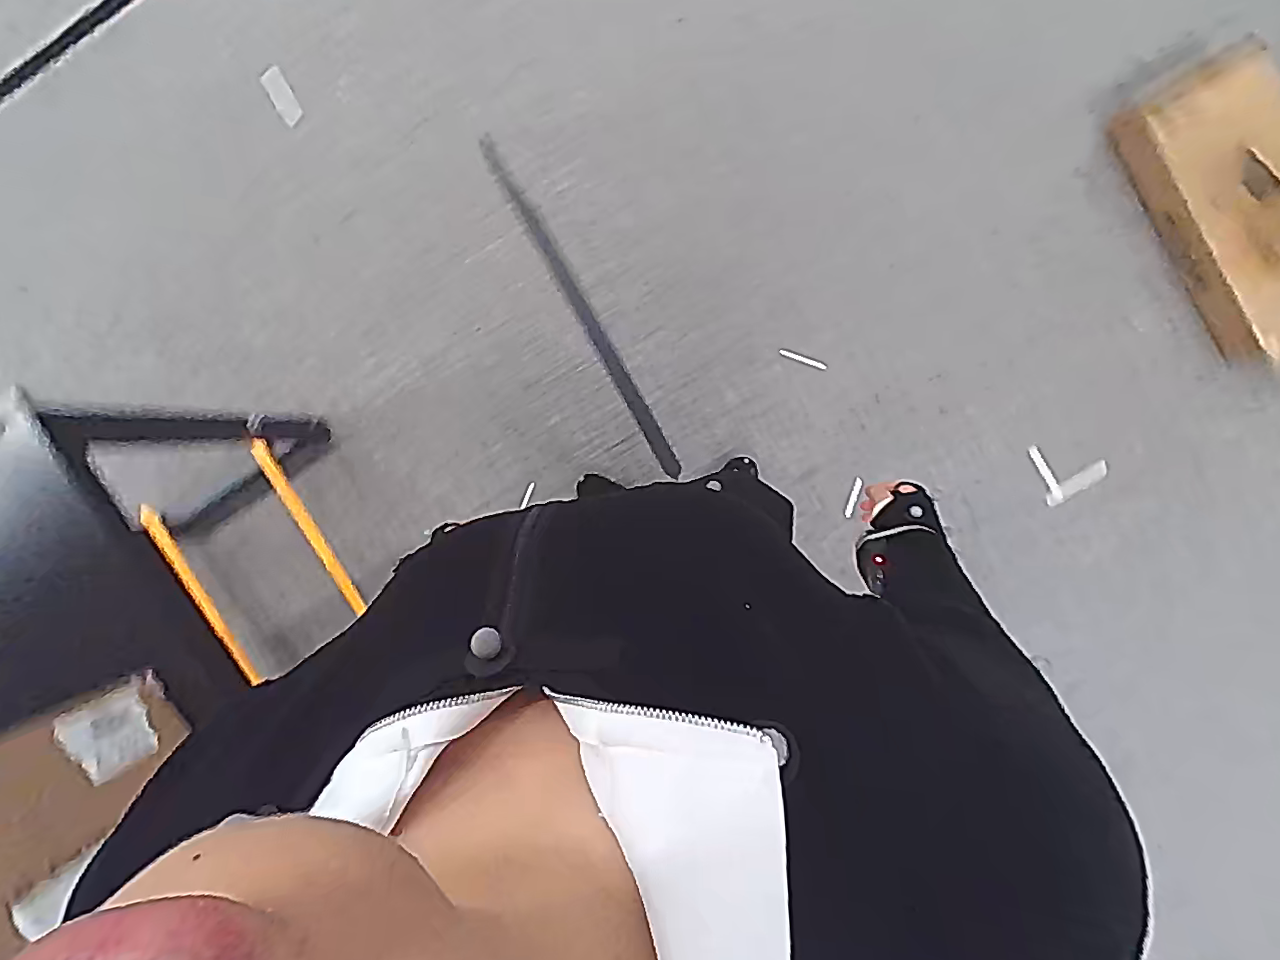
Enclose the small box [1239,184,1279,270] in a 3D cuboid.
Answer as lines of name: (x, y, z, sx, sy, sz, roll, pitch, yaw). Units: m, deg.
small box: (1.515, -0.602, 1.205, 0.179, 0.176, 0.168, -34, 93, 4)
